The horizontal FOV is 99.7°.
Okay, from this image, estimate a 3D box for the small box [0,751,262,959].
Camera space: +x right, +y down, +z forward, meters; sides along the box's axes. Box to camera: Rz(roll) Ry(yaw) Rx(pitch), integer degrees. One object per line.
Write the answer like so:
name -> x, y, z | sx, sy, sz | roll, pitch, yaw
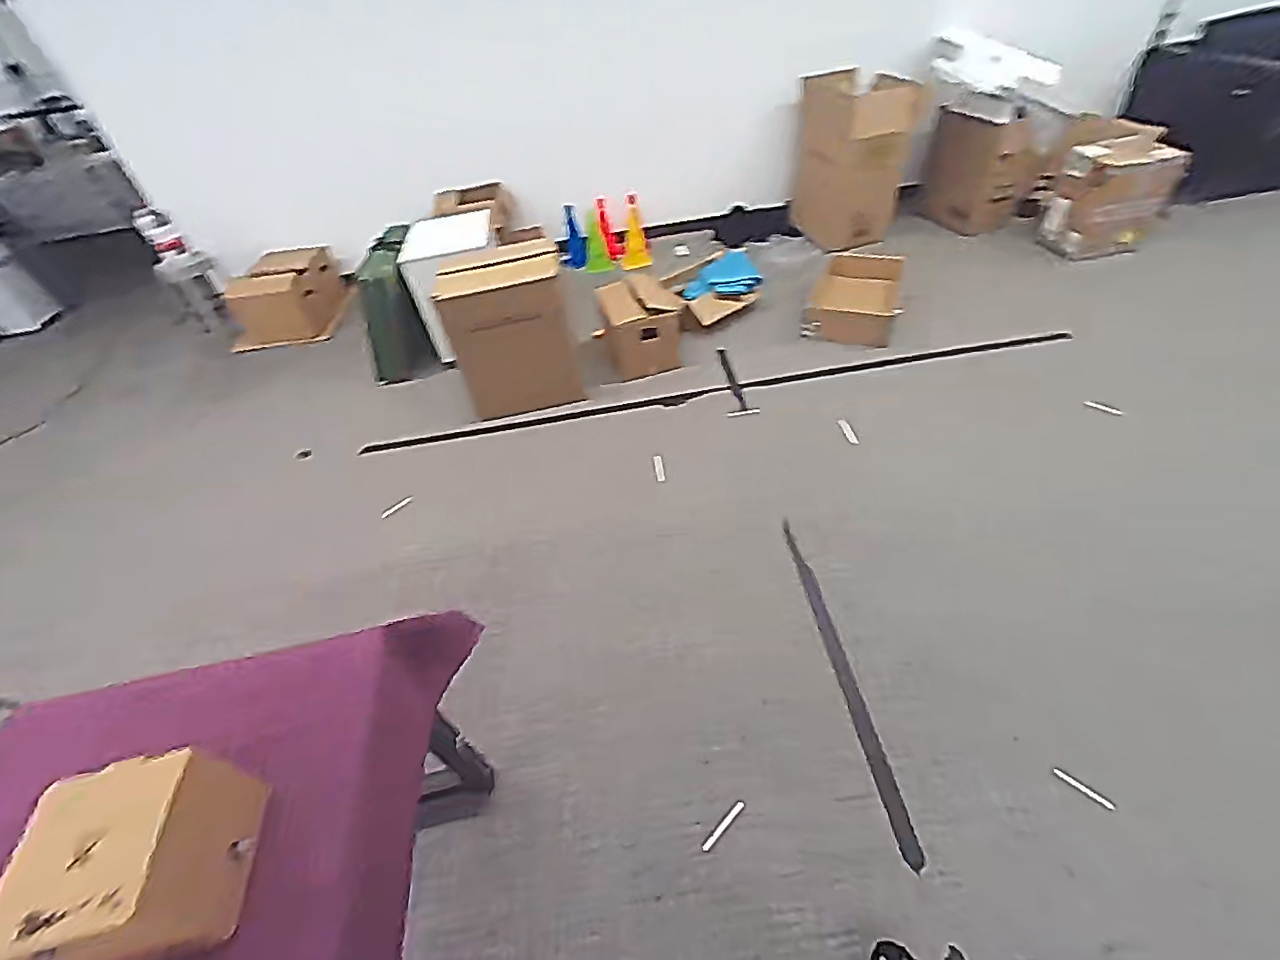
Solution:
small box -> -0.602, 0.465, 0.653 | 0.168, 0.176, 0.179 | -14, 45, -4
